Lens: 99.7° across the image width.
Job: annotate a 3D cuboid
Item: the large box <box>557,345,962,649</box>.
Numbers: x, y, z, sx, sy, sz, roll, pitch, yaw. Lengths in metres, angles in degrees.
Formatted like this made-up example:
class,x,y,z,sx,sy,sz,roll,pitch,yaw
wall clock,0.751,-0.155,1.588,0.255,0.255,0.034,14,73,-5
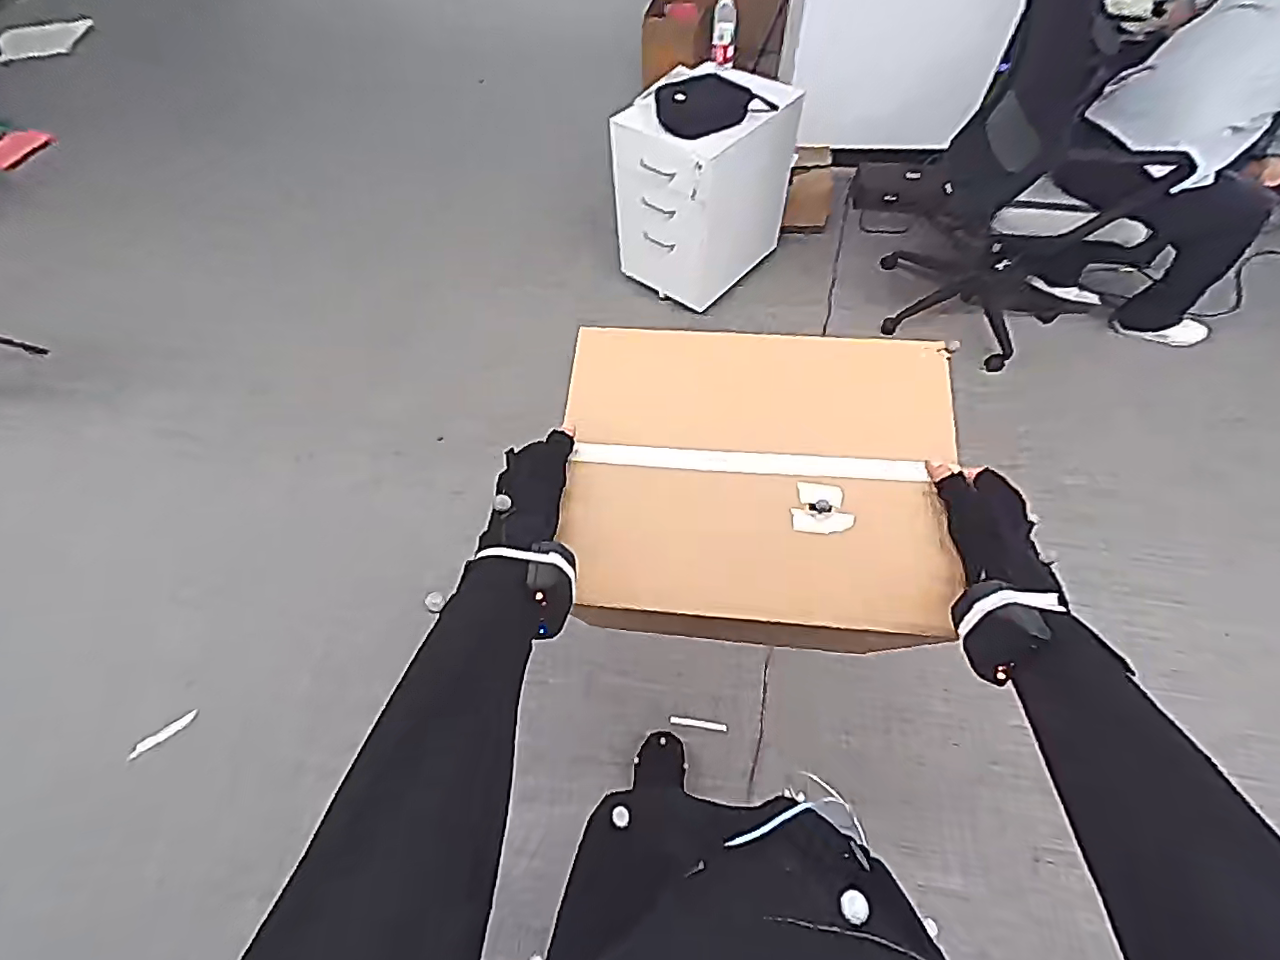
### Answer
class,x,y,z,sx,sy,sz,roll,pitch,yaw
large box,0.129,0.044,0.718,0.408,0.320,0.320,4,72,5
